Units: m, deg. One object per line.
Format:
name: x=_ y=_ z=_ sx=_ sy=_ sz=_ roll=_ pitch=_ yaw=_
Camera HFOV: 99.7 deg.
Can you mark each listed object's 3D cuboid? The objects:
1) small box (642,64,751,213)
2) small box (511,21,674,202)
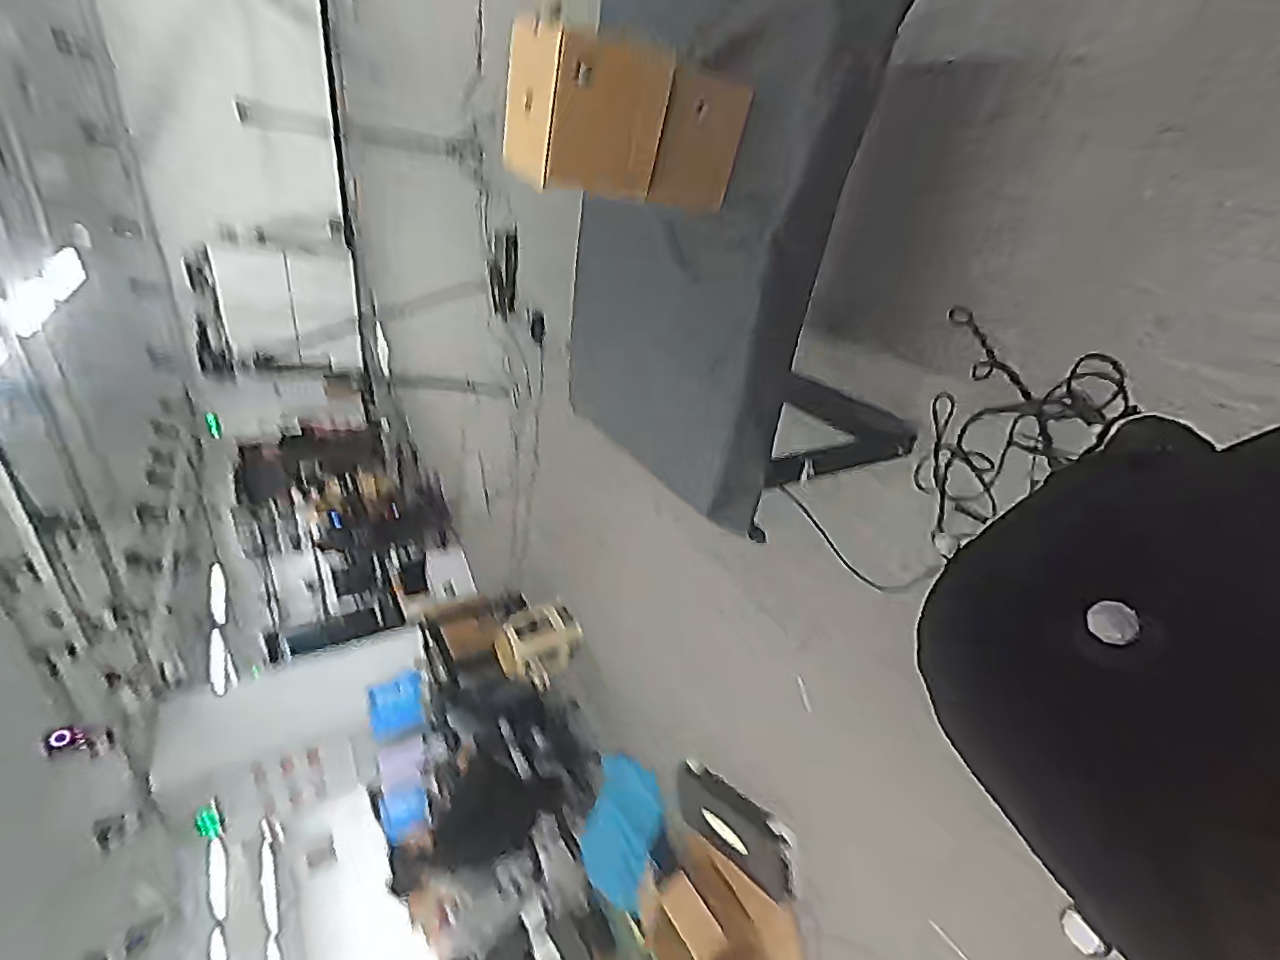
small box: x=0.053 y=-0.550 z=0.870 sx=0.168 sy=0.176 sz=0.179 roll=50 pitch=139 yaw=40
small box: x=-0.072 y=-0.515 z=0.770 sx=0.168 sy=0.176 sz=0.179 roll=51 pitch=138 yaw=39
